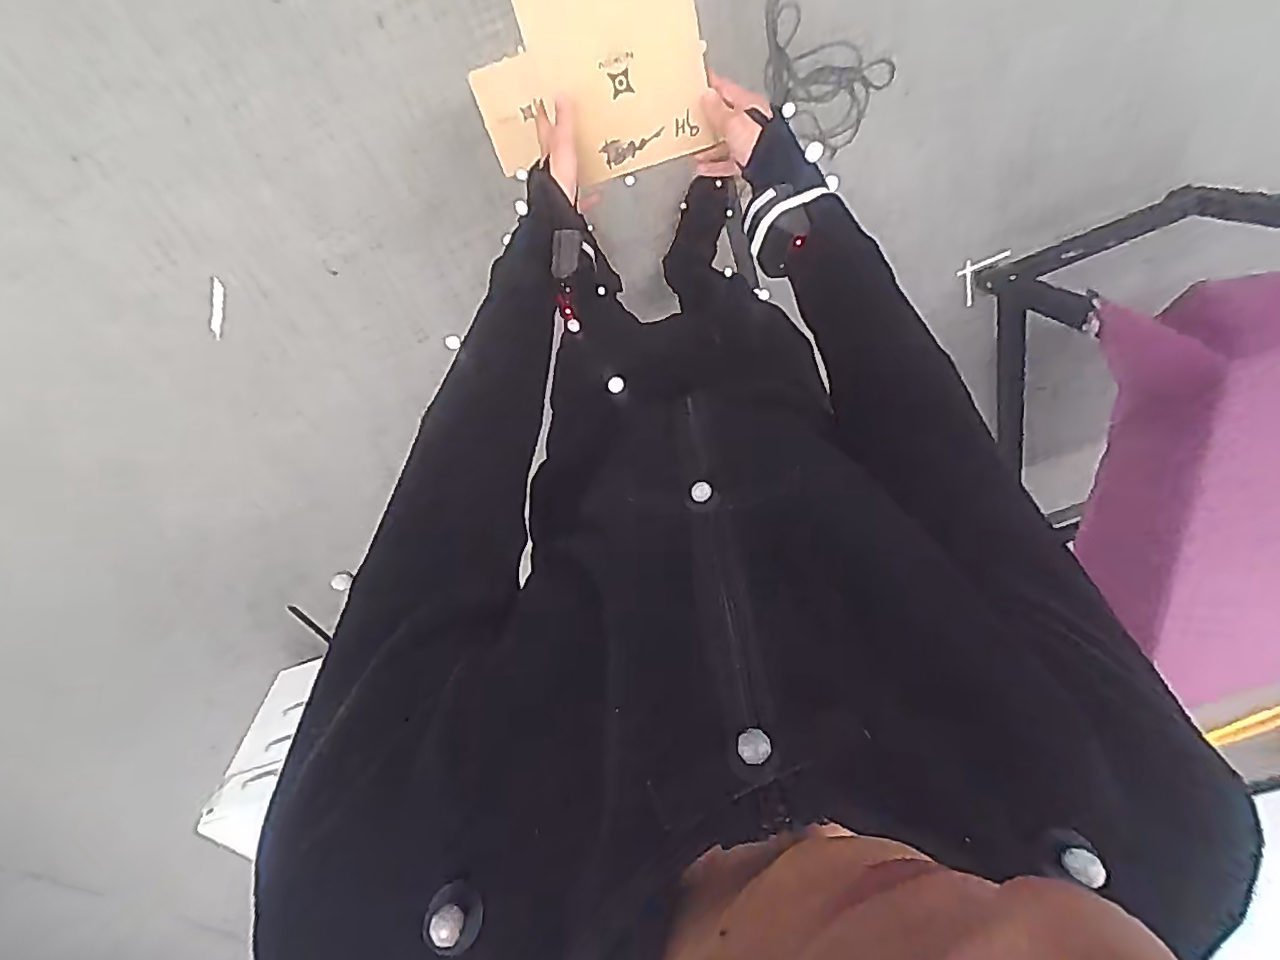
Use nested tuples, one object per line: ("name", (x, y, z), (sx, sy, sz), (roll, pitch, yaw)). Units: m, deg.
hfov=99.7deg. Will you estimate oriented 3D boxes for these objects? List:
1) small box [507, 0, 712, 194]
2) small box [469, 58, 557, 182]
("small box", (-0.023, -0.440, 0.593), (0.168, 0.176, 0.179), (-12, 124, 10))
("small box", (-0.195, -0.687, 1.019), (0.179, 0.176, 0.168), (-16, 124, 6))
